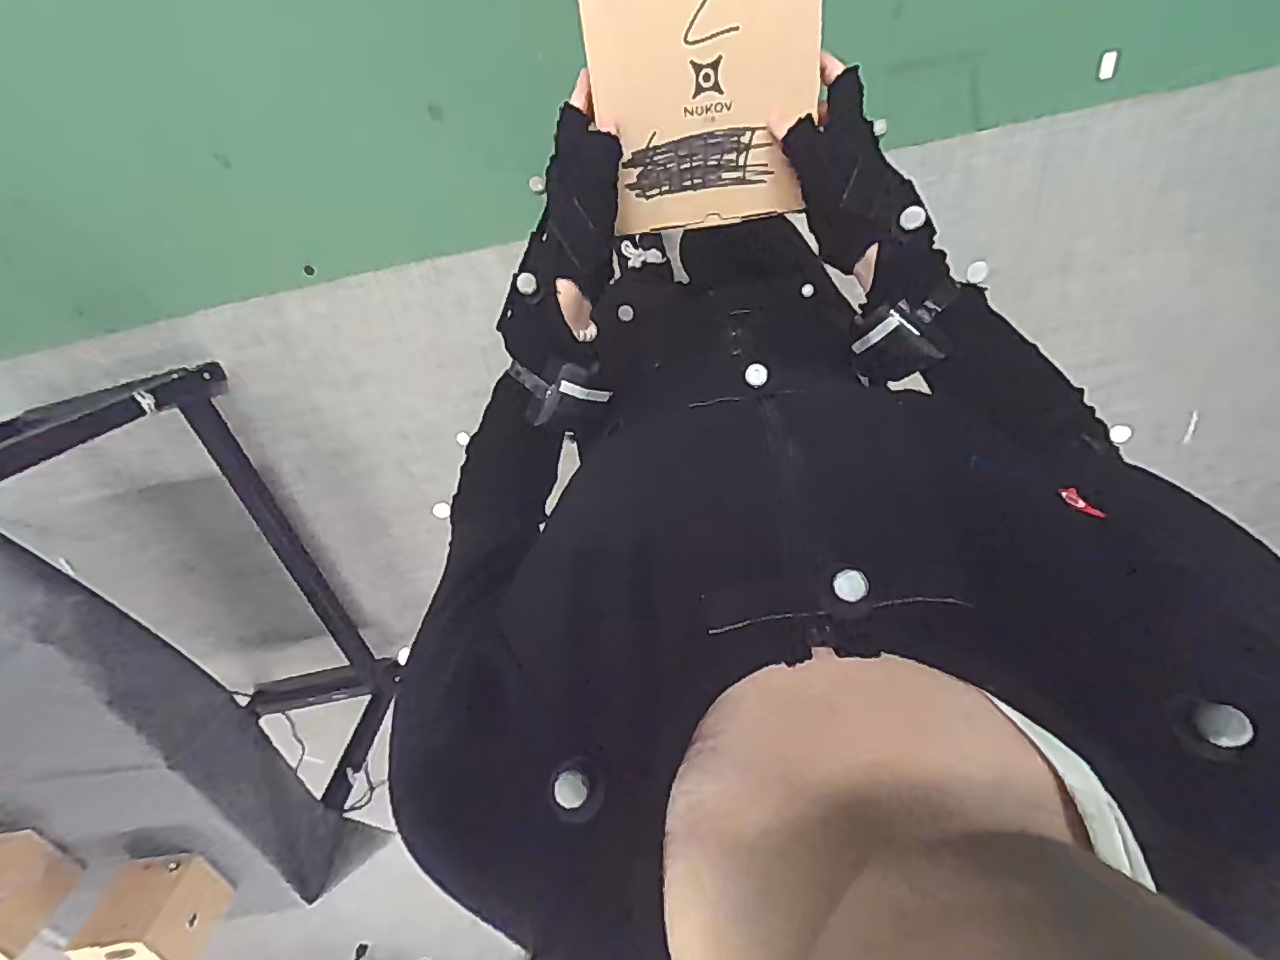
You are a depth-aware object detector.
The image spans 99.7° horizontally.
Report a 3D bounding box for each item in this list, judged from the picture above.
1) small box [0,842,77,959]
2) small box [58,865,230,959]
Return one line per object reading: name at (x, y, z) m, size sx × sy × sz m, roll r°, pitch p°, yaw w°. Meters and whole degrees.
small box at (-1.335, 0.864, 1.094) m, size 0.168 × 0.176 × 0.179 m, roll -12°, pitch 117°, yaw 3°
small box at (-1.039, 0.952, 1.152) m, size 0.168 × 0.176 × 0.179 m, roll -9°, pitch 118°, yaw 3°
